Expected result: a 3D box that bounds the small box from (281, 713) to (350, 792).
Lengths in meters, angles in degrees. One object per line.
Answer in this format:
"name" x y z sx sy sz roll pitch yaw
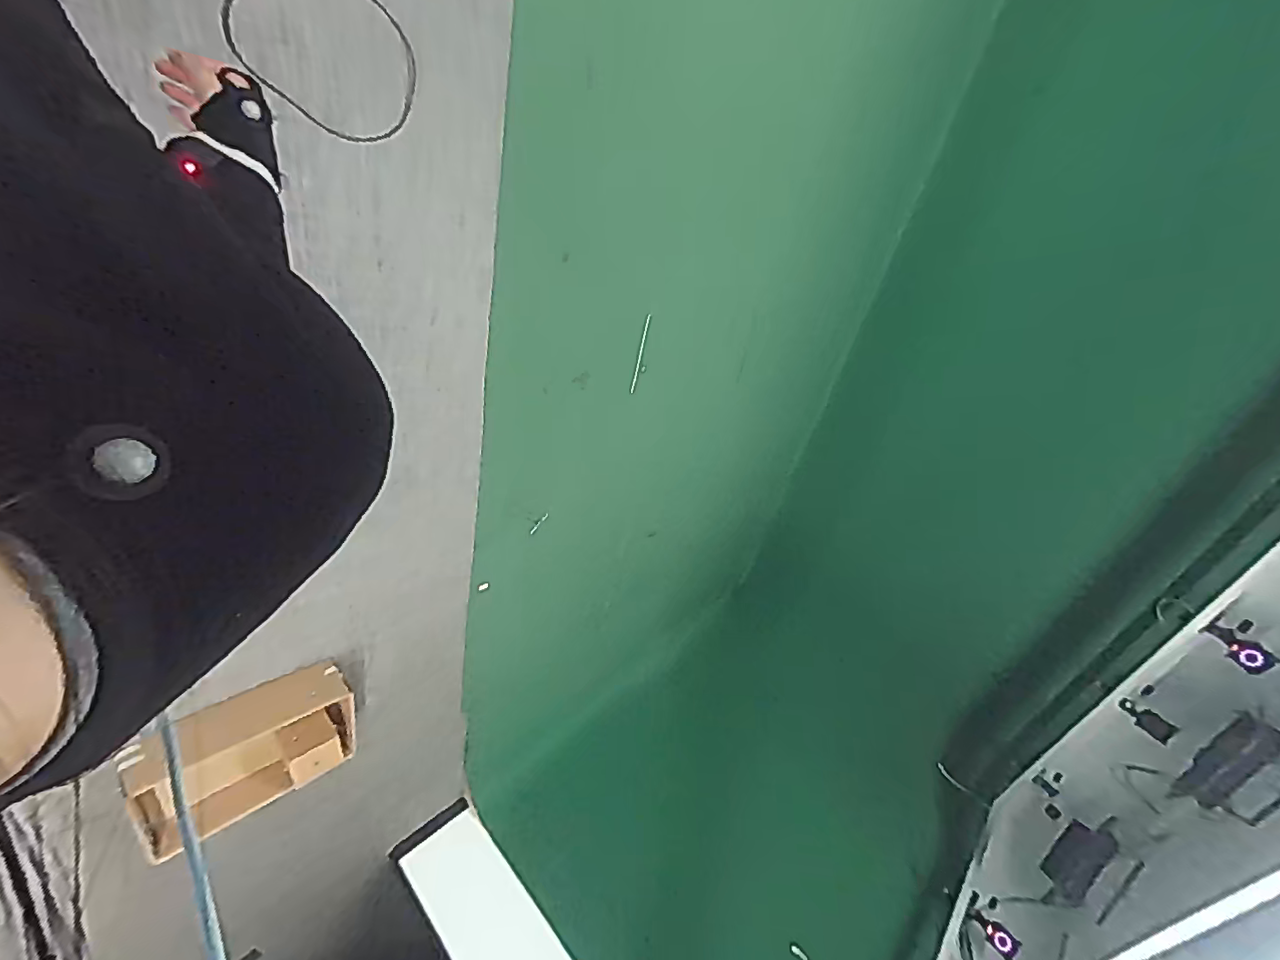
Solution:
"small box" -1.198 0.993 1.993 0.168 0.176 0.179 -21 135 -41
